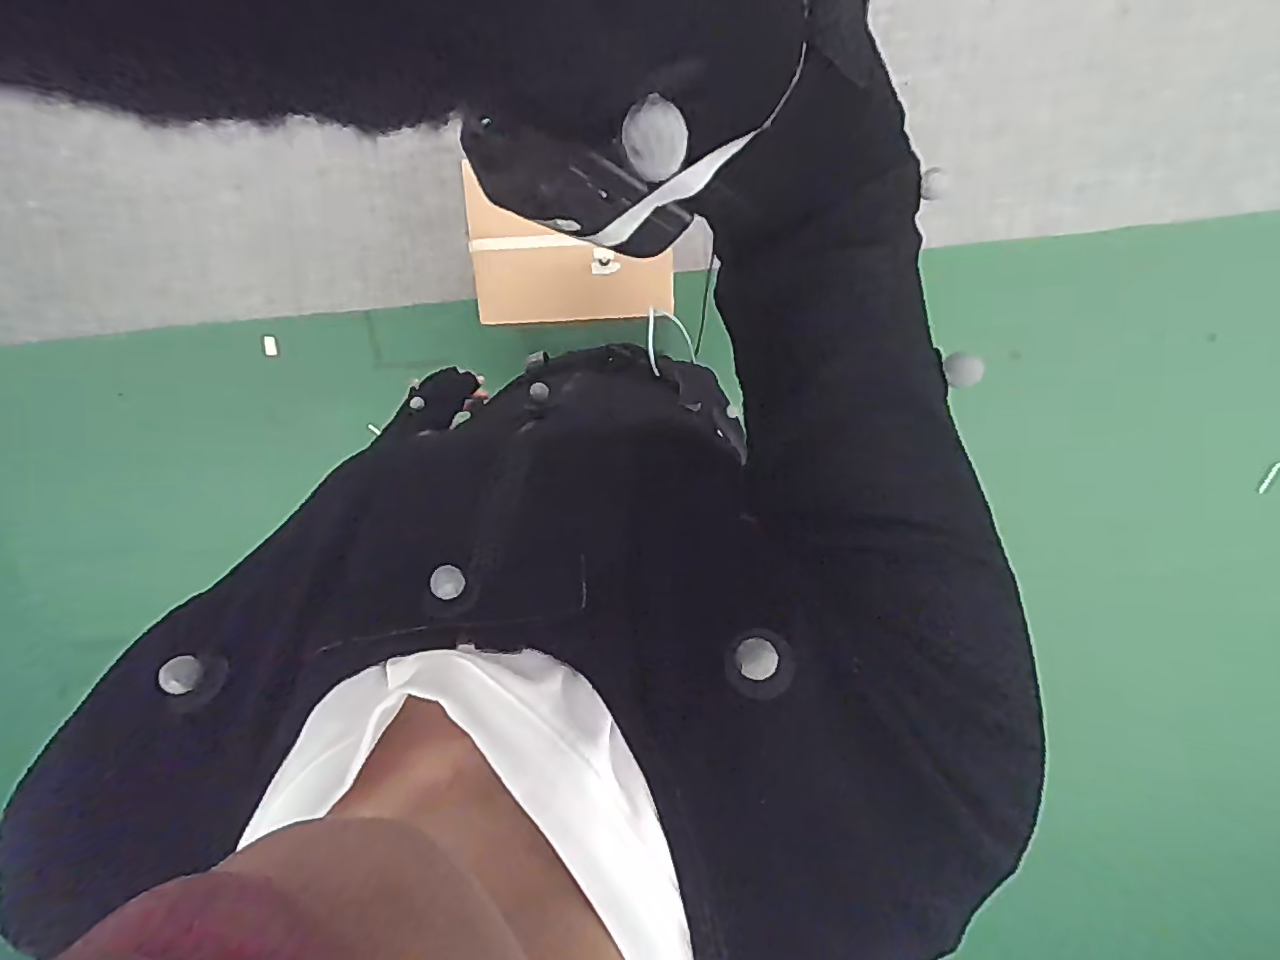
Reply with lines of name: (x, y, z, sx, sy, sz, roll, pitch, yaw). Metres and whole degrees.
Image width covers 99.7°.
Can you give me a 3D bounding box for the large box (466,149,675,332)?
large box: (-0.136, -0.515, 1.230, 0.408, 0.320, 0.320, -3, 104, 1)
